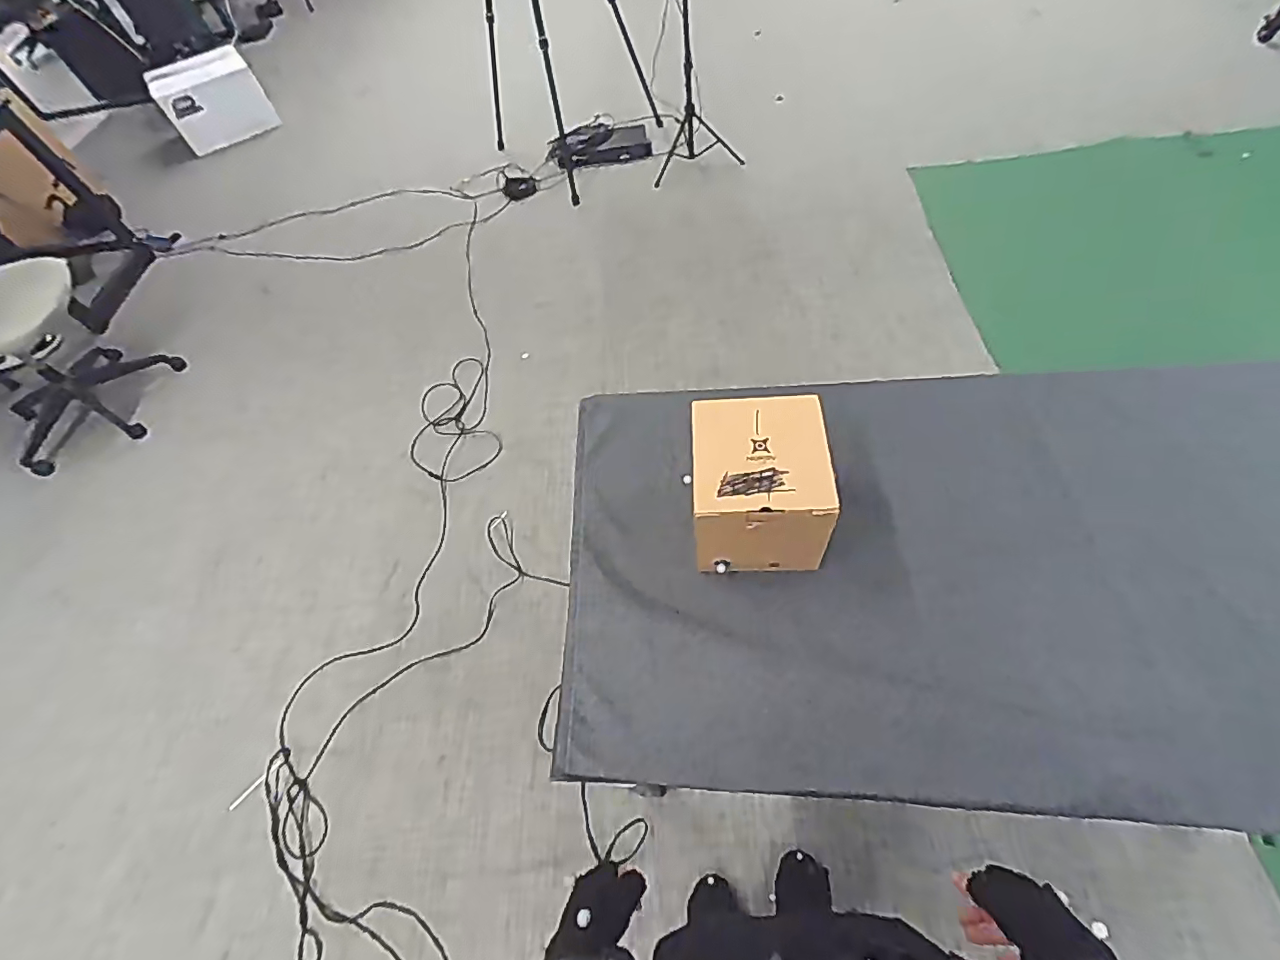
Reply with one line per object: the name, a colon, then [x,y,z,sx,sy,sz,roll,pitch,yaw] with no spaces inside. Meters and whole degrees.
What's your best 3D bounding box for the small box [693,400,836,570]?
small box: [0.159,0.015,0.736,0.168,0.176,0.179,-2,56,7]
